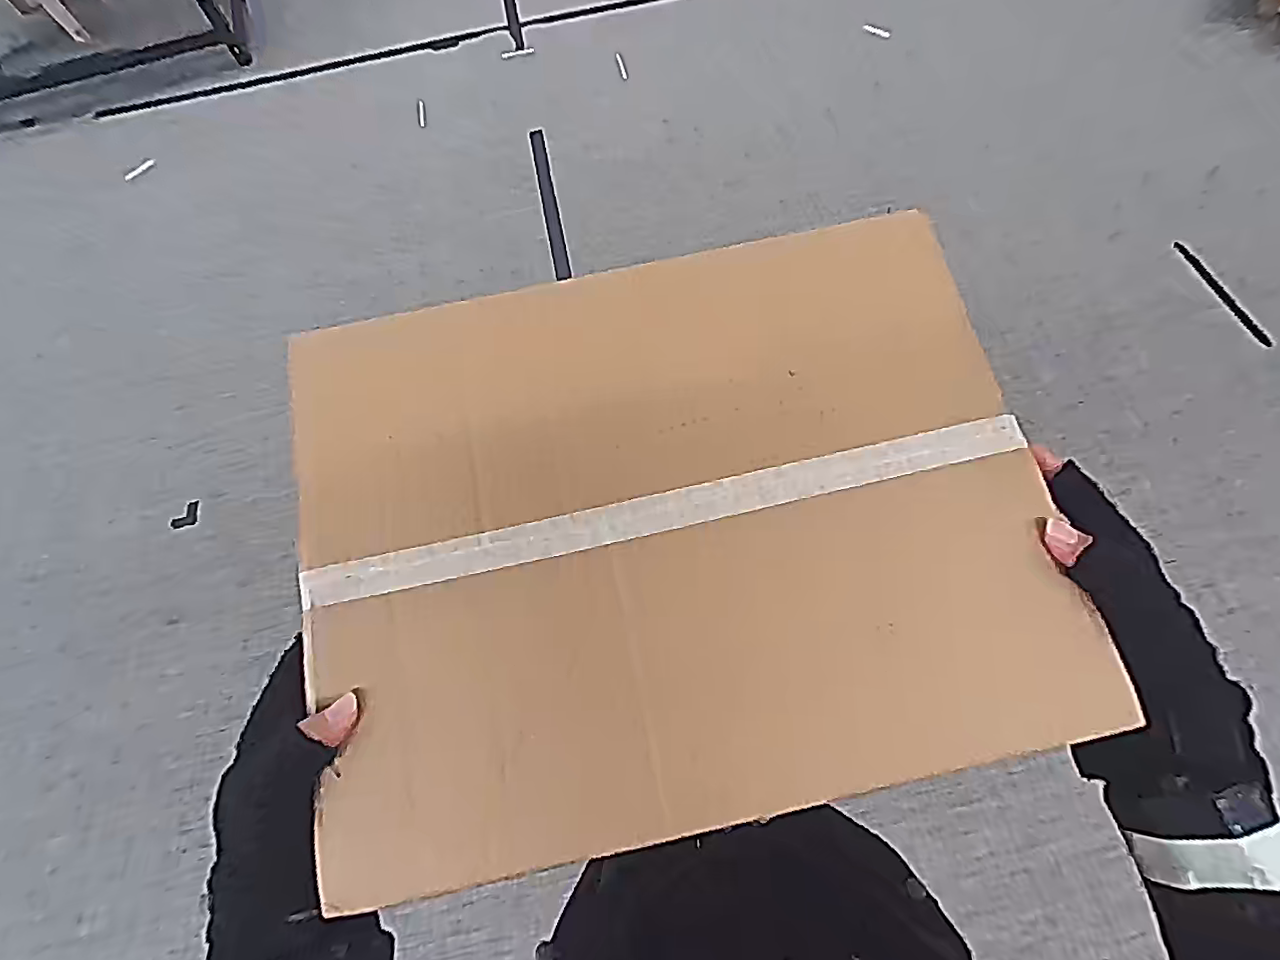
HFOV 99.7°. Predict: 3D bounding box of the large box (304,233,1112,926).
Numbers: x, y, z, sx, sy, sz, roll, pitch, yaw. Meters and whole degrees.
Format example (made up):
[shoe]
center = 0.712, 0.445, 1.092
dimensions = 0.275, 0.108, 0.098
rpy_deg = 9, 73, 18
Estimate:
[large box]
center = 0.022, 0.064, 0.448
dimensions = 0.408, 0.320, 0.320
rpy_deg = -13, 75, -2
